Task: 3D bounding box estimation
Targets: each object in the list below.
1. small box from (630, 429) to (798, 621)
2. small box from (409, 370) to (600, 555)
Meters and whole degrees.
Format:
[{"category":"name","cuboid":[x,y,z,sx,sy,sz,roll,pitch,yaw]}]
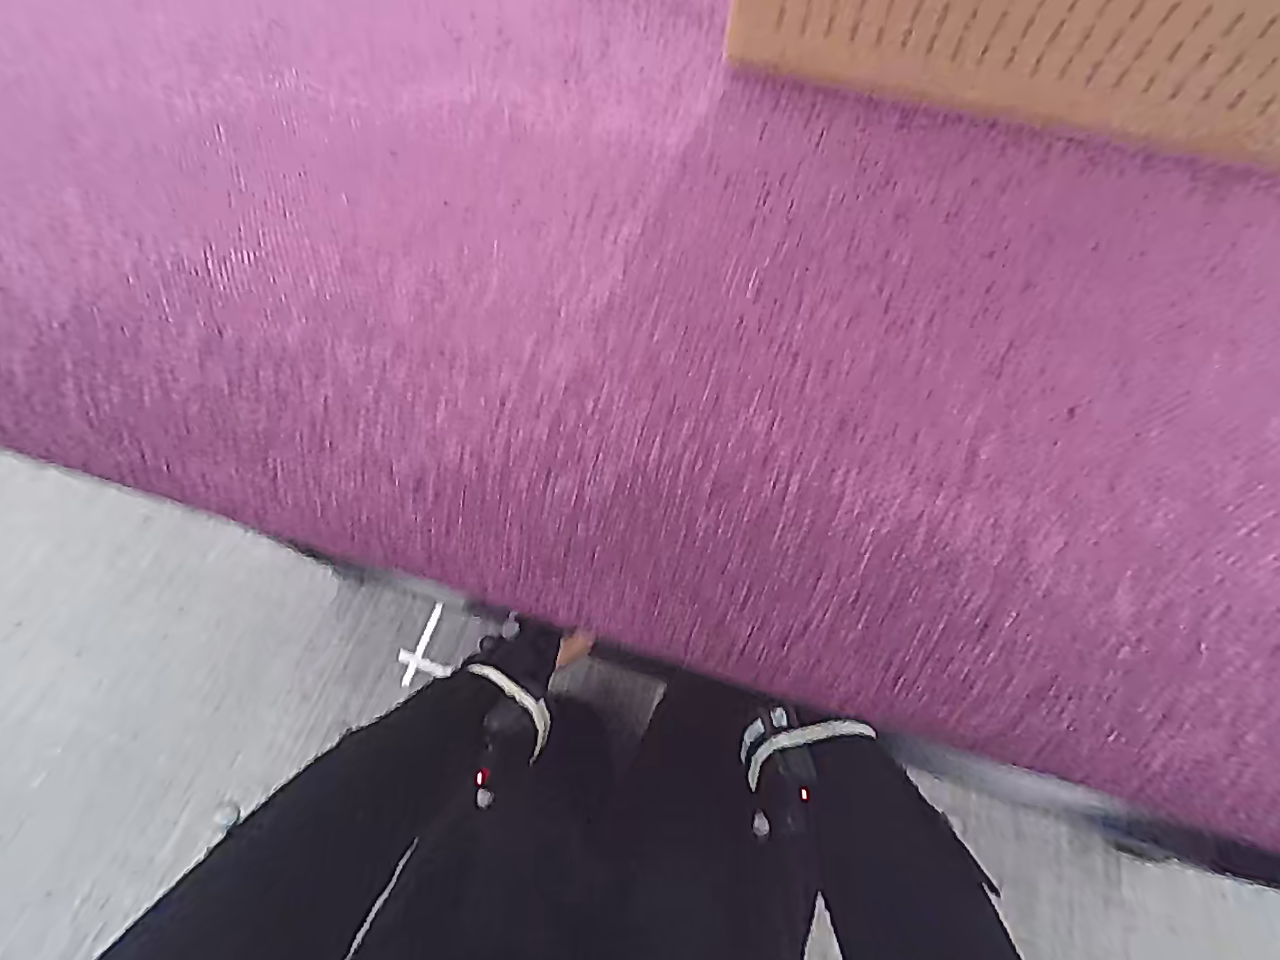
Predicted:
[{"category":"small box","cuboid":[0.095,0.057,0.708,0.179,0.176,0.168,15,32,6]},{"category":"small box","cuboid":[-0.158,-0.013,0.705,0.179,0.176,0.168,14,67,6]}]
